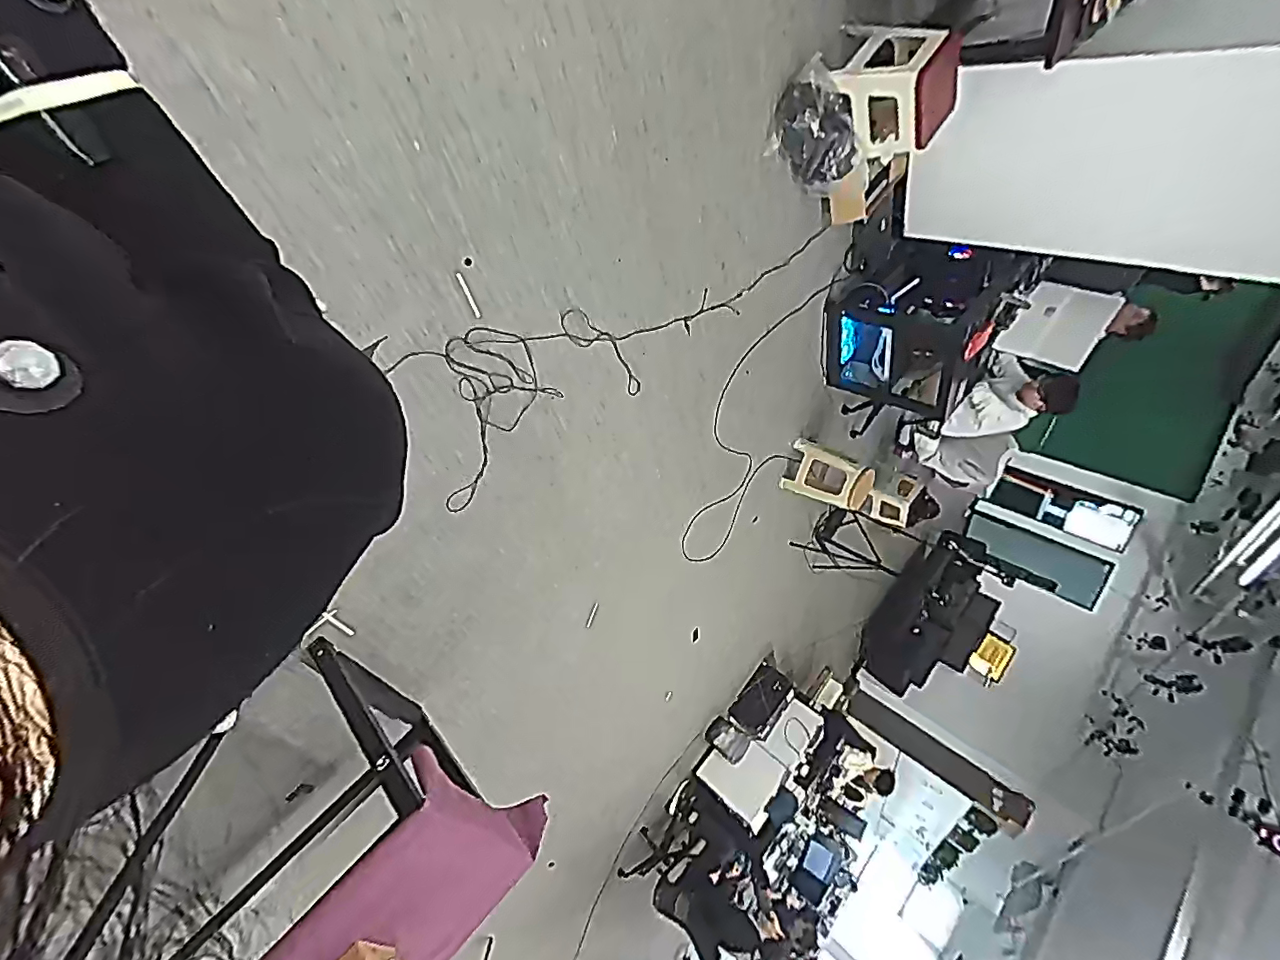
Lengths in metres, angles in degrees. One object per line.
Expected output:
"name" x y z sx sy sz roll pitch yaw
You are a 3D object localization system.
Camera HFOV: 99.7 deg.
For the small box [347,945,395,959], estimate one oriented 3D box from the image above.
"small box" -0.603 1.157 1.154 0.179 0.176 0.168 -41 139 -25
